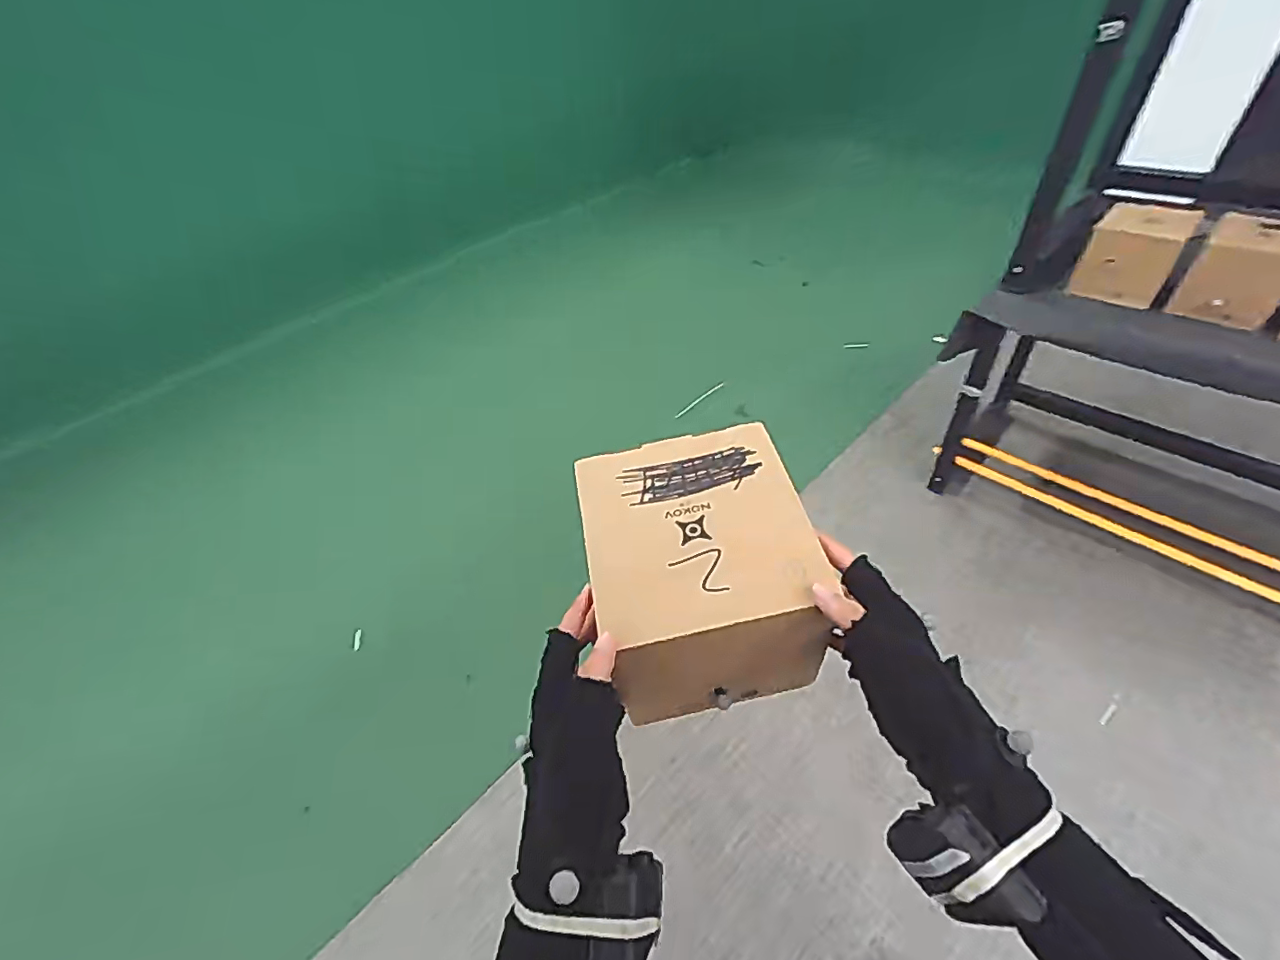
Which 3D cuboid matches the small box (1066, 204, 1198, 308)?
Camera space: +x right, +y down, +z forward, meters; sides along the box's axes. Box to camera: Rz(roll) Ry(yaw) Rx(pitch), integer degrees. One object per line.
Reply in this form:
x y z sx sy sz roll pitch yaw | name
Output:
1.166 -0.536 1.294 0.168 0.176 0.179 32 57 33 | small box
